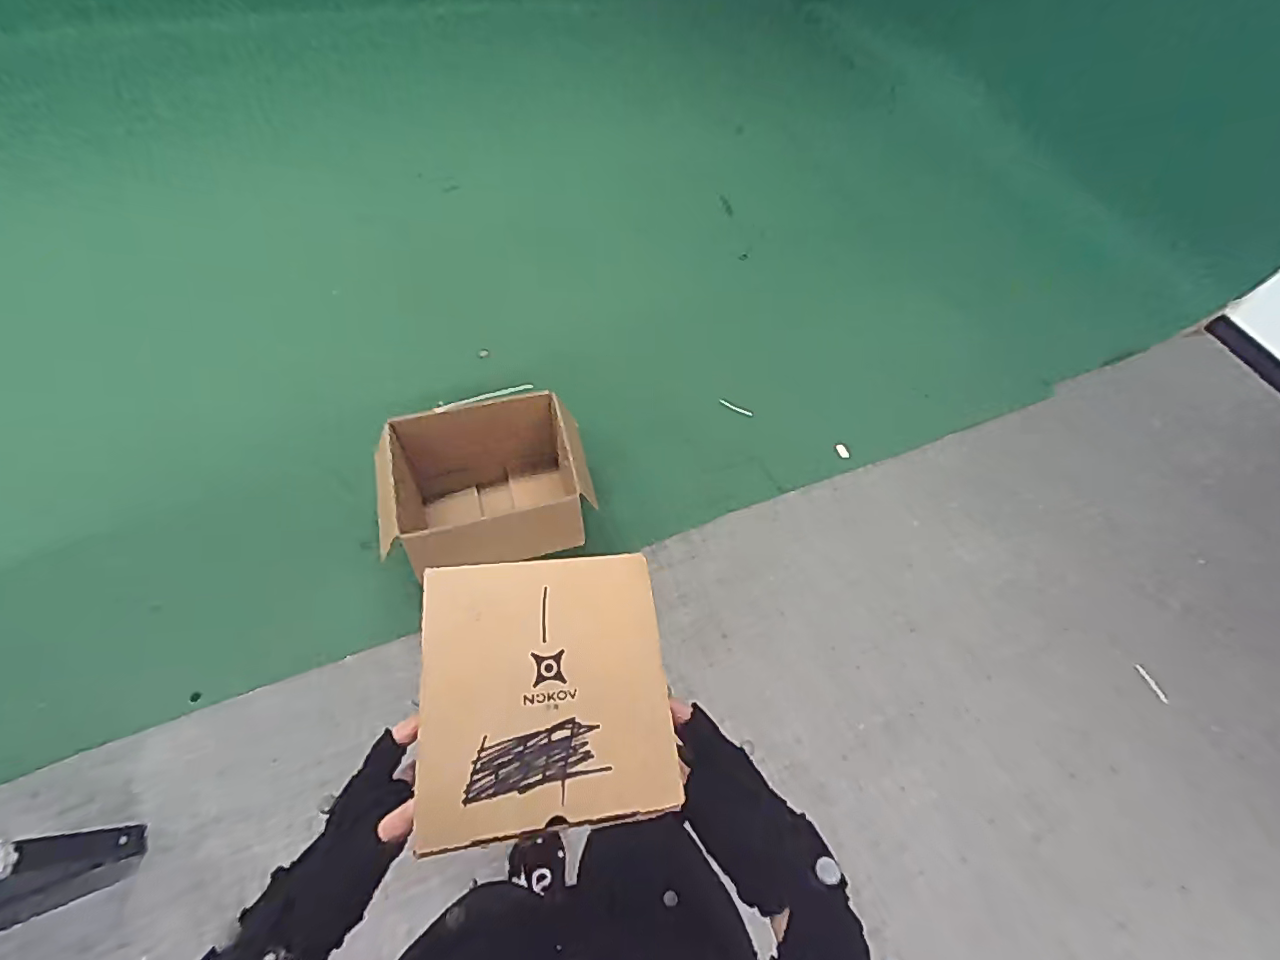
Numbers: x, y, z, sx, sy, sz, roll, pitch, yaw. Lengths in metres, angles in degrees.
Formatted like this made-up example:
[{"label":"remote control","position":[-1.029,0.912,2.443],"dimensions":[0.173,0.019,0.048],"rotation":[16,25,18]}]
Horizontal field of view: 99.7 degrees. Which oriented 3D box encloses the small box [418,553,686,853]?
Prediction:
[{"label":"small box","position":[-0.073,0.174,0.434],"dimensions":[0.168,0.176,0.179],"rotation":[-2,61,-14]}]
